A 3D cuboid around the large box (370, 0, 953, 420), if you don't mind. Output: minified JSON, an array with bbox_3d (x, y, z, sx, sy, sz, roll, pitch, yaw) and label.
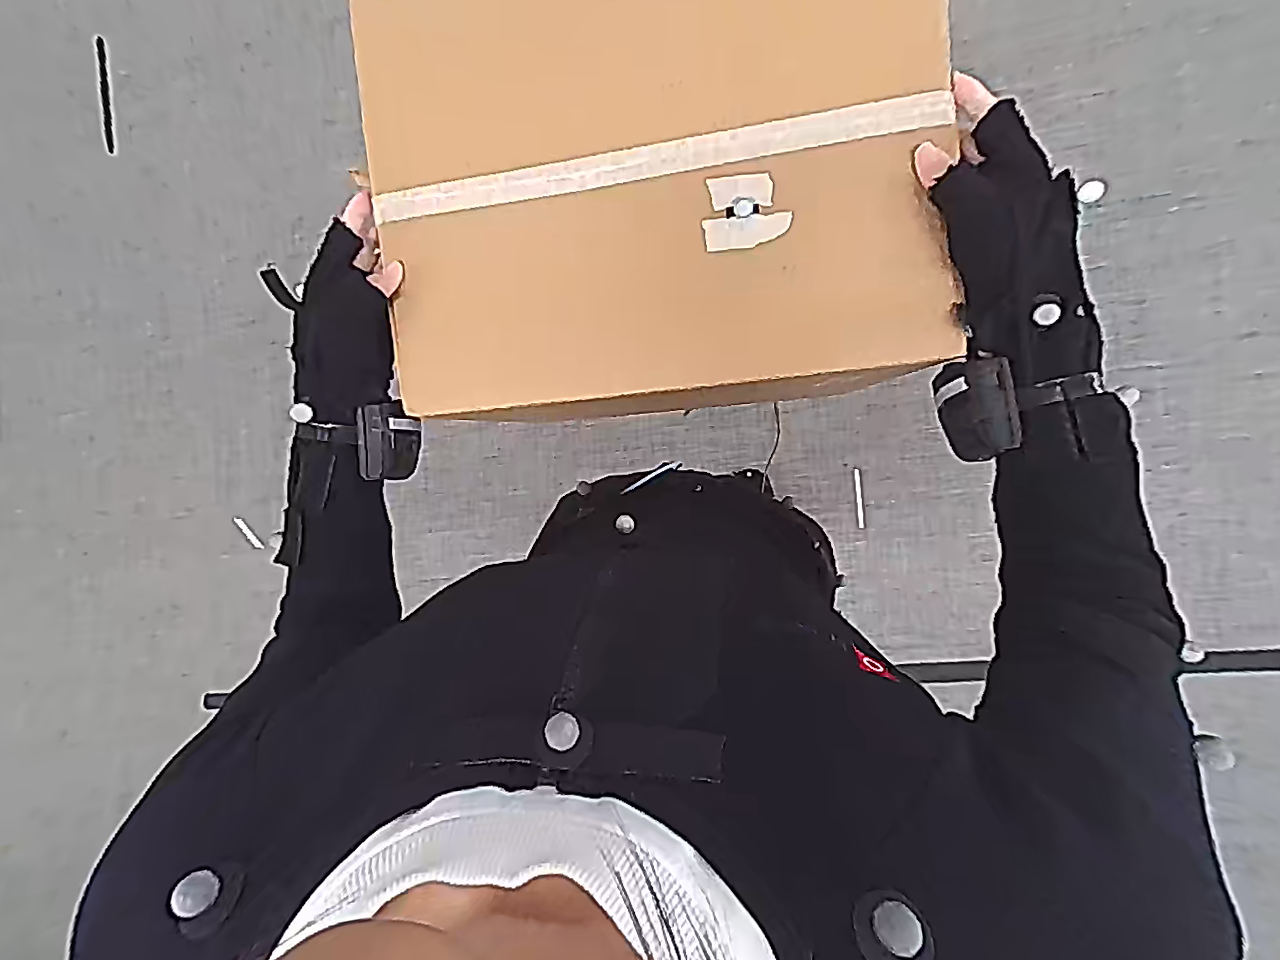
[{"bbox_3d":[0.024,-0.238,0.537,0.408,0.320,0.320,-5,95,8],"label":"large box"}]
